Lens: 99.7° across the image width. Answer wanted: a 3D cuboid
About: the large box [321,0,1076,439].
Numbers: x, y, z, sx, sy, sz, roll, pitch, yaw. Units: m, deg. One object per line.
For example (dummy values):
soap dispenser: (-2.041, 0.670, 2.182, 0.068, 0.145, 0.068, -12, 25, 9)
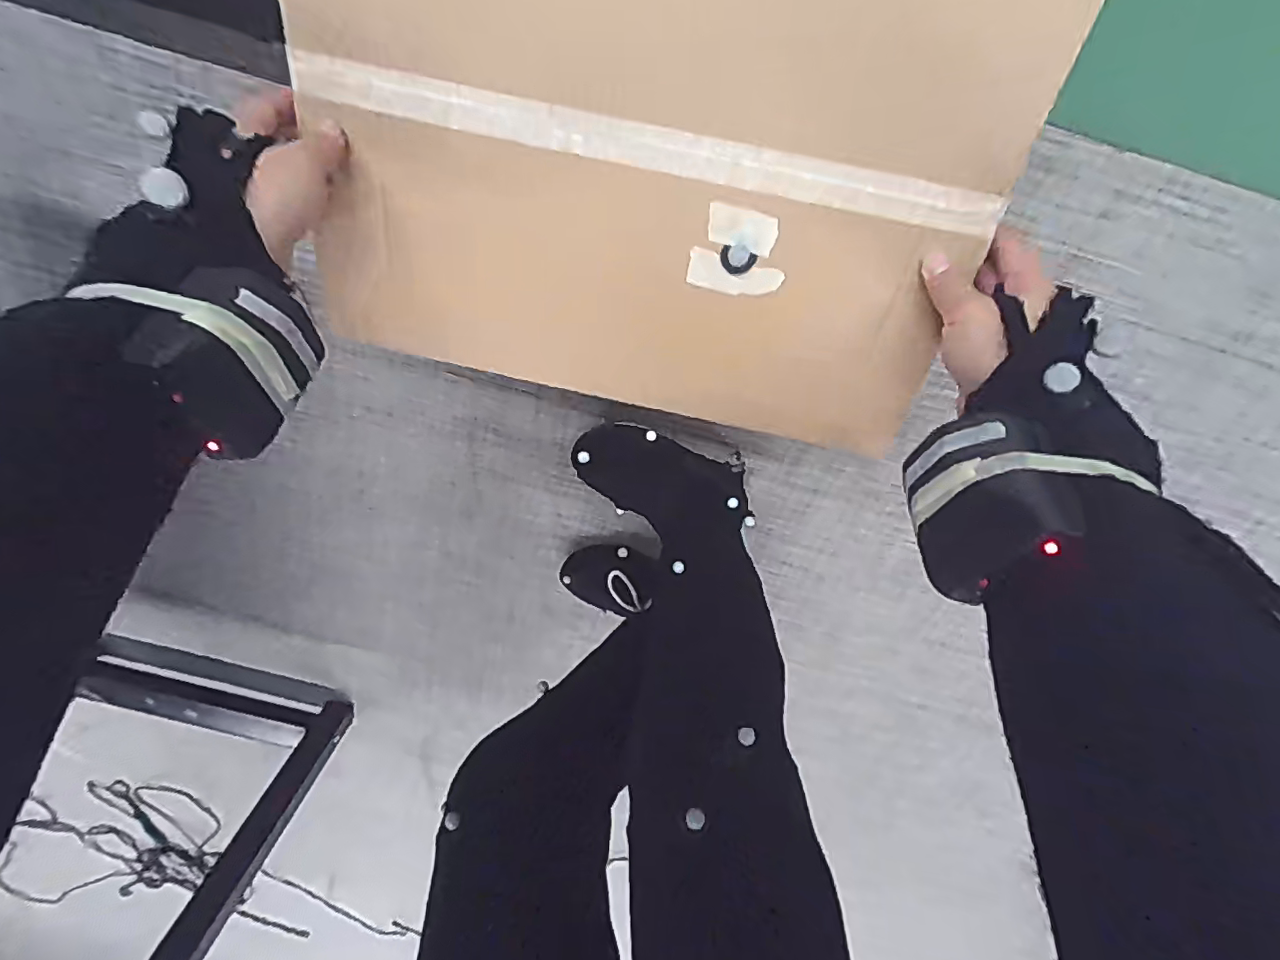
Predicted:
large box: (0.022, -0.267, 0.450, 0.408, 0.320, 0.320, 11, 121, 0)
